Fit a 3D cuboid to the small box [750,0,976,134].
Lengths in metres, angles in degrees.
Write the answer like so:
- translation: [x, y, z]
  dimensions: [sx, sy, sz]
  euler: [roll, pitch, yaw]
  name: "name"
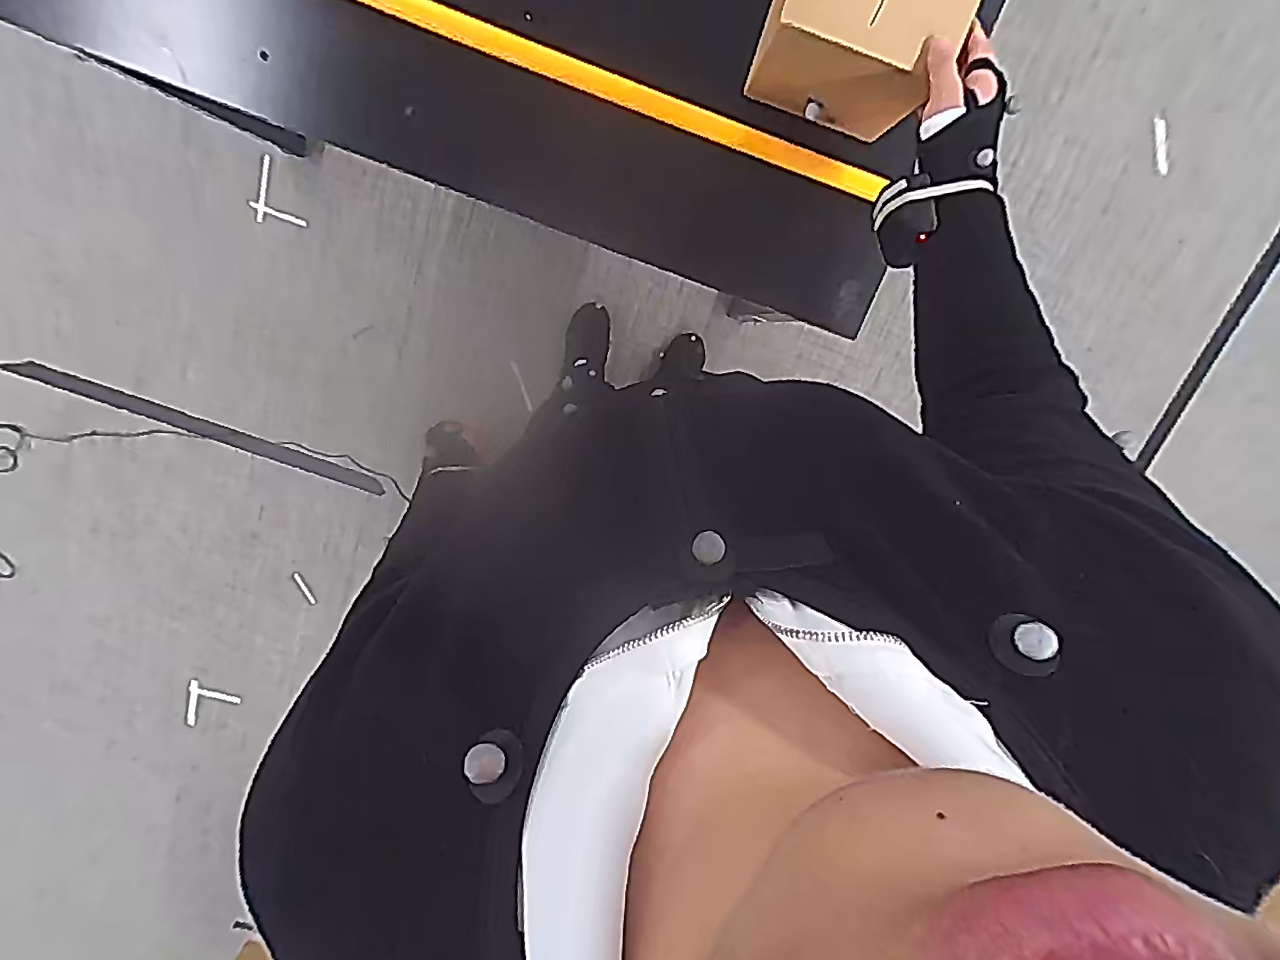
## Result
- translation: [0.225, -0.490, 0.541]
  dimensions: [0.168, 0.176, 0.179]
  euler: [17, 106, -5]
  name: "small box"
